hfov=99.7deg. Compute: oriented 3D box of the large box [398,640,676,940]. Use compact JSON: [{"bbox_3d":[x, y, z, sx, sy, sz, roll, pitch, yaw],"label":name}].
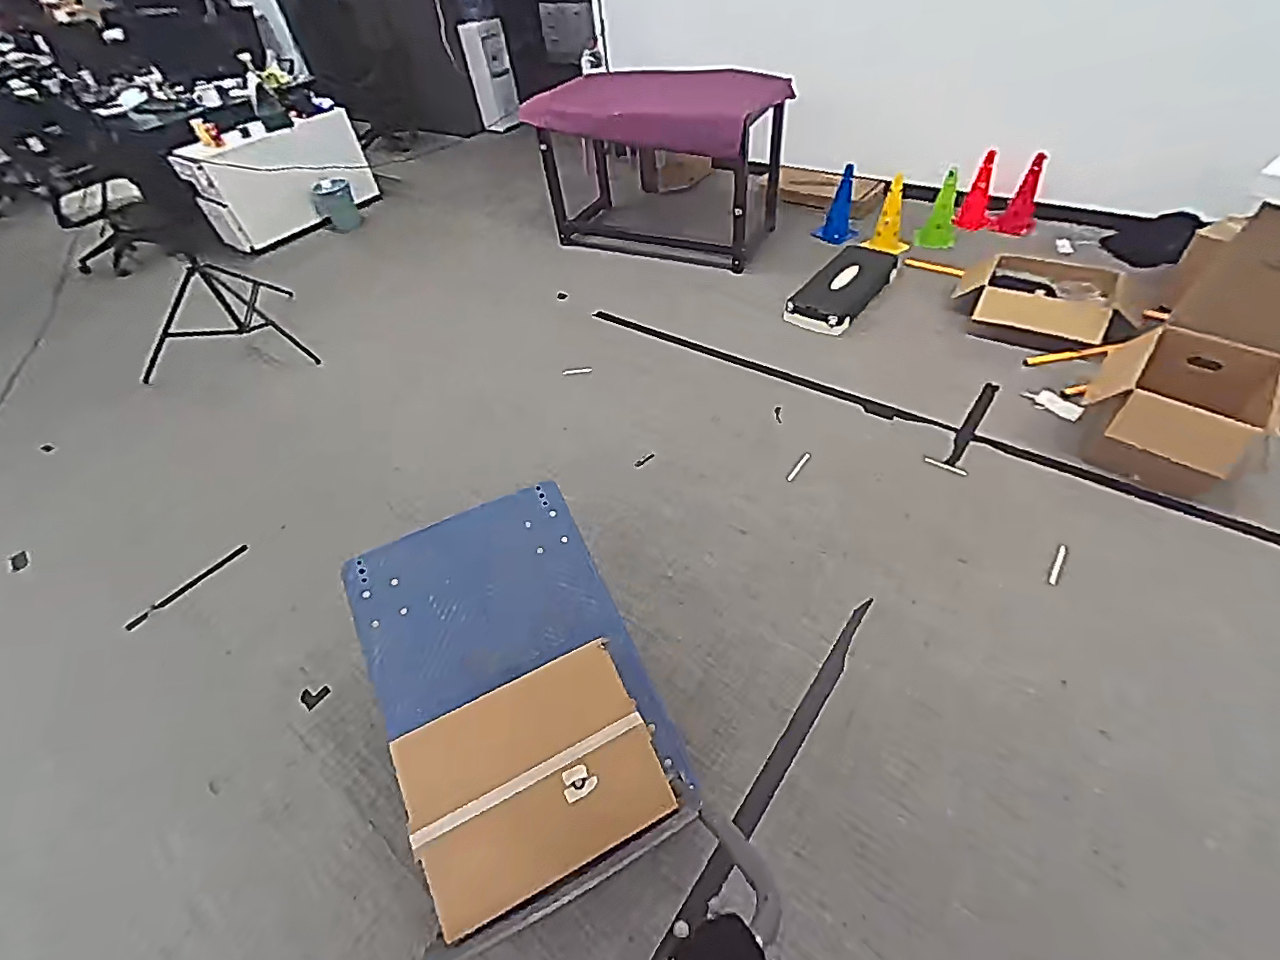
[{"bbox_3d":[-0.189,0.573,1.067,0.408,0.320,0.320,-24,69,-15],"label":"large box"}]
